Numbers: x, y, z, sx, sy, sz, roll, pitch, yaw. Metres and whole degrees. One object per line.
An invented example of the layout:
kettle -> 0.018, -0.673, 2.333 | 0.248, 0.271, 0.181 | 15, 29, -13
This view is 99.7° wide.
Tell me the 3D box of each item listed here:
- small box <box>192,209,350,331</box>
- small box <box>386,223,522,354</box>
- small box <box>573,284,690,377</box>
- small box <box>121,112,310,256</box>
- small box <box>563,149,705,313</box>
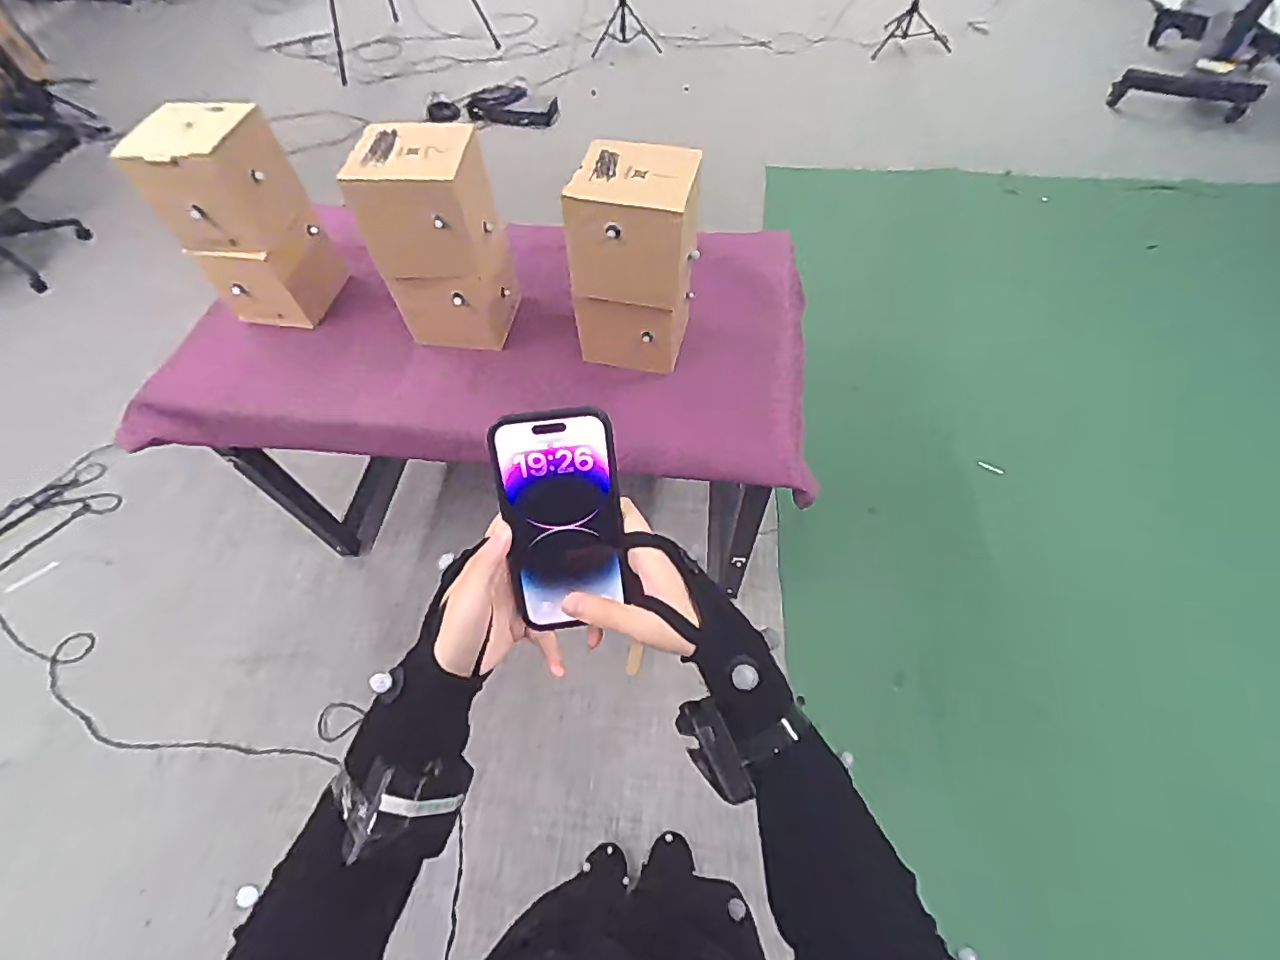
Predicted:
small box -> -0.724, -0.421, 1.087 | 0.168, 0.176, 0.179 | 7, 57, 6
small box -> -0.341, -0.361, 1.036 | 0.179, 0.176, 0.168 | 6, 57, 6
small box -> -0.006, -0.311, 0.995 | 0.179, 0.176, 0.168 | 12, 58, 9
small box -> -0.727, -0.518, 0.954 | 0.168, 0.176, 0.179 | 3, 58, 3
small box -> -0.004, -0.387, 0.849 | 0.179, 0.176, 0.168 | 12, 58, 8
